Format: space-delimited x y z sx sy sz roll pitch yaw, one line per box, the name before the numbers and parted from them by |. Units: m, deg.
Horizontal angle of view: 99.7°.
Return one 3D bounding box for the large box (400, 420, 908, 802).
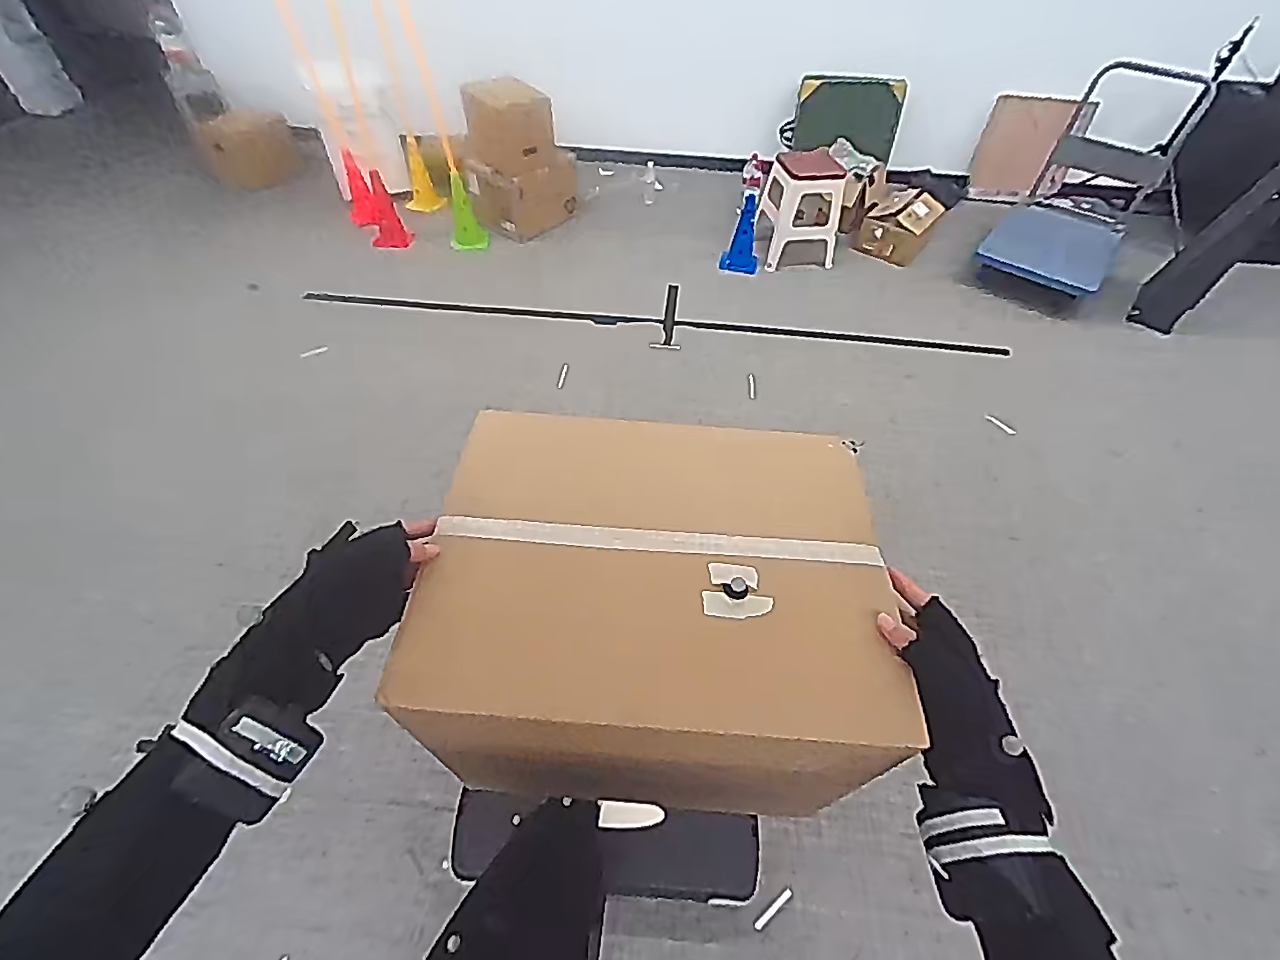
large box | 0.011 0.157 0.623 0.408 0.320 0.320 5 51 1
